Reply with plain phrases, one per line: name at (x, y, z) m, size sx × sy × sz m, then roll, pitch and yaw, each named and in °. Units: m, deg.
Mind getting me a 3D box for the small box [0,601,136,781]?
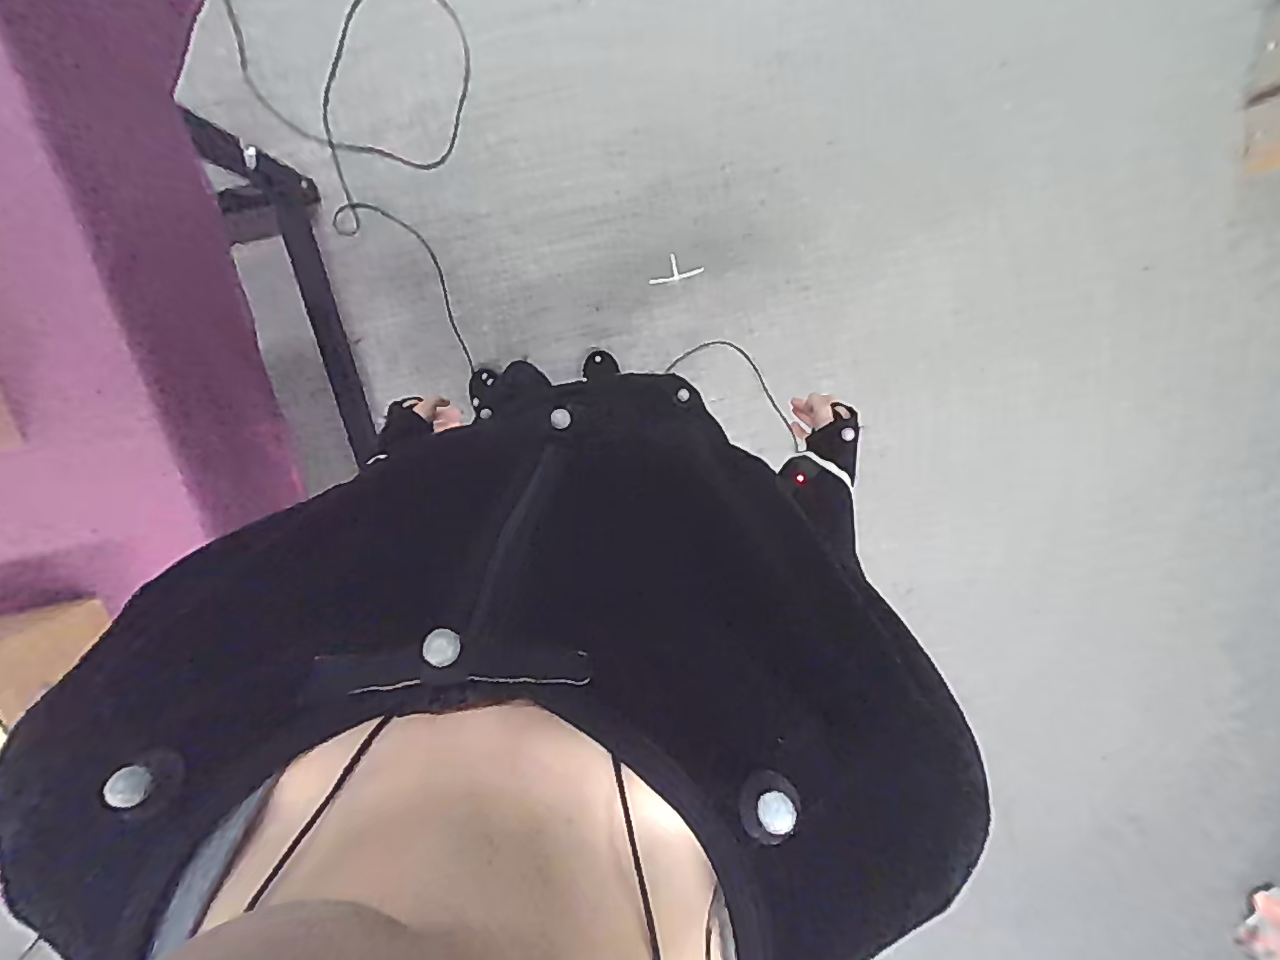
small box at (-0.837, 0.279, 0.721) m, size 0.179 × 0.176 × 0.168 m, roll -12°, pitch 102°, yaw 1°
